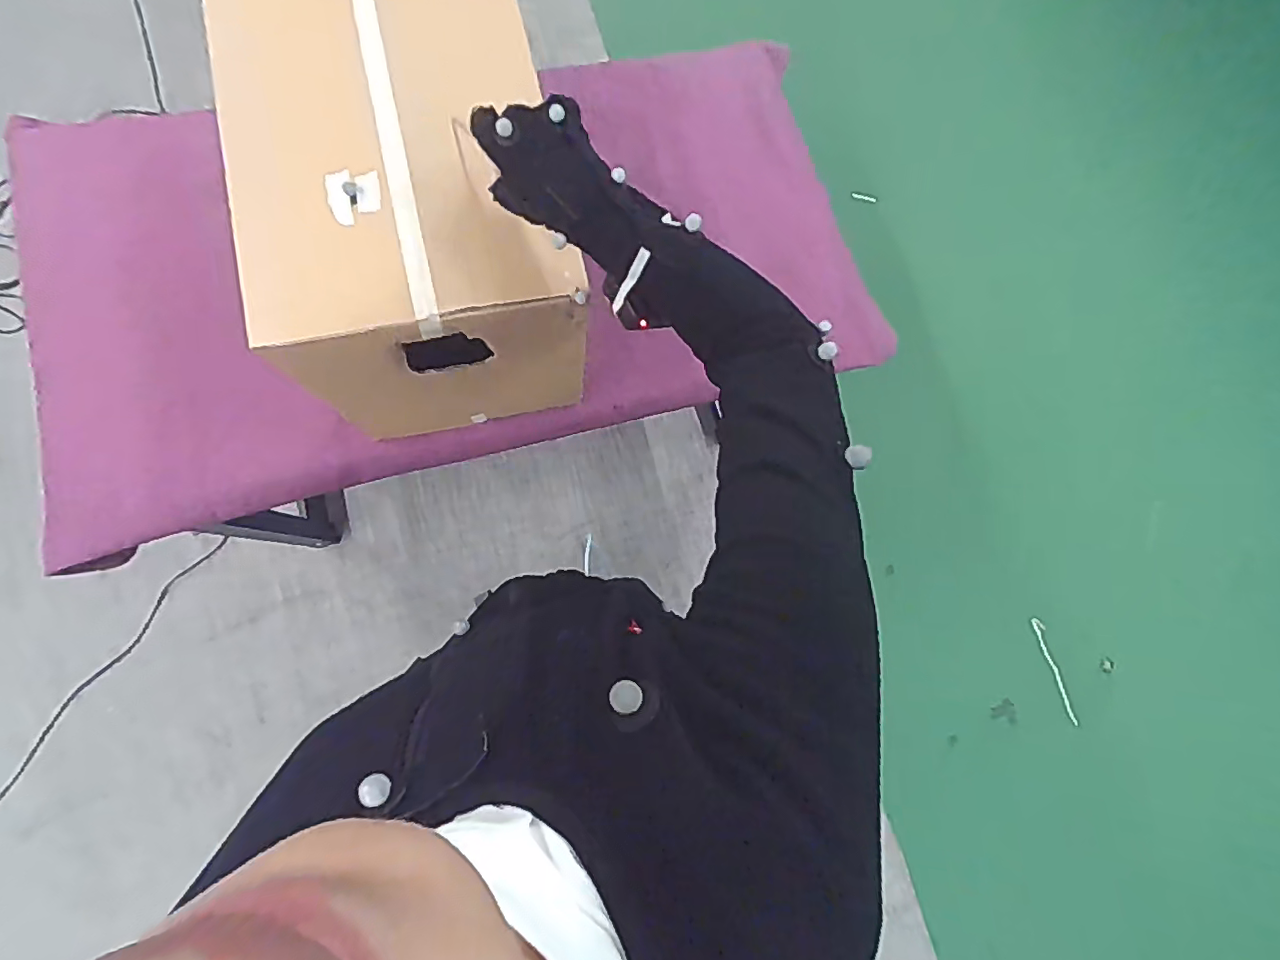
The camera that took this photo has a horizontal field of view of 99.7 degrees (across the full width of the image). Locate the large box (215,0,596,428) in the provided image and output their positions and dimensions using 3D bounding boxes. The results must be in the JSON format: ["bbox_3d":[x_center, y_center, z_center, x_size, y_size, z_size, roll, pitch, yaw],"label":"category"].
[{"bbox_3d":[-0.262,-0.321,0.695,0.320,0.320,0.408,-12,82,-10],"label":"large box"}]
